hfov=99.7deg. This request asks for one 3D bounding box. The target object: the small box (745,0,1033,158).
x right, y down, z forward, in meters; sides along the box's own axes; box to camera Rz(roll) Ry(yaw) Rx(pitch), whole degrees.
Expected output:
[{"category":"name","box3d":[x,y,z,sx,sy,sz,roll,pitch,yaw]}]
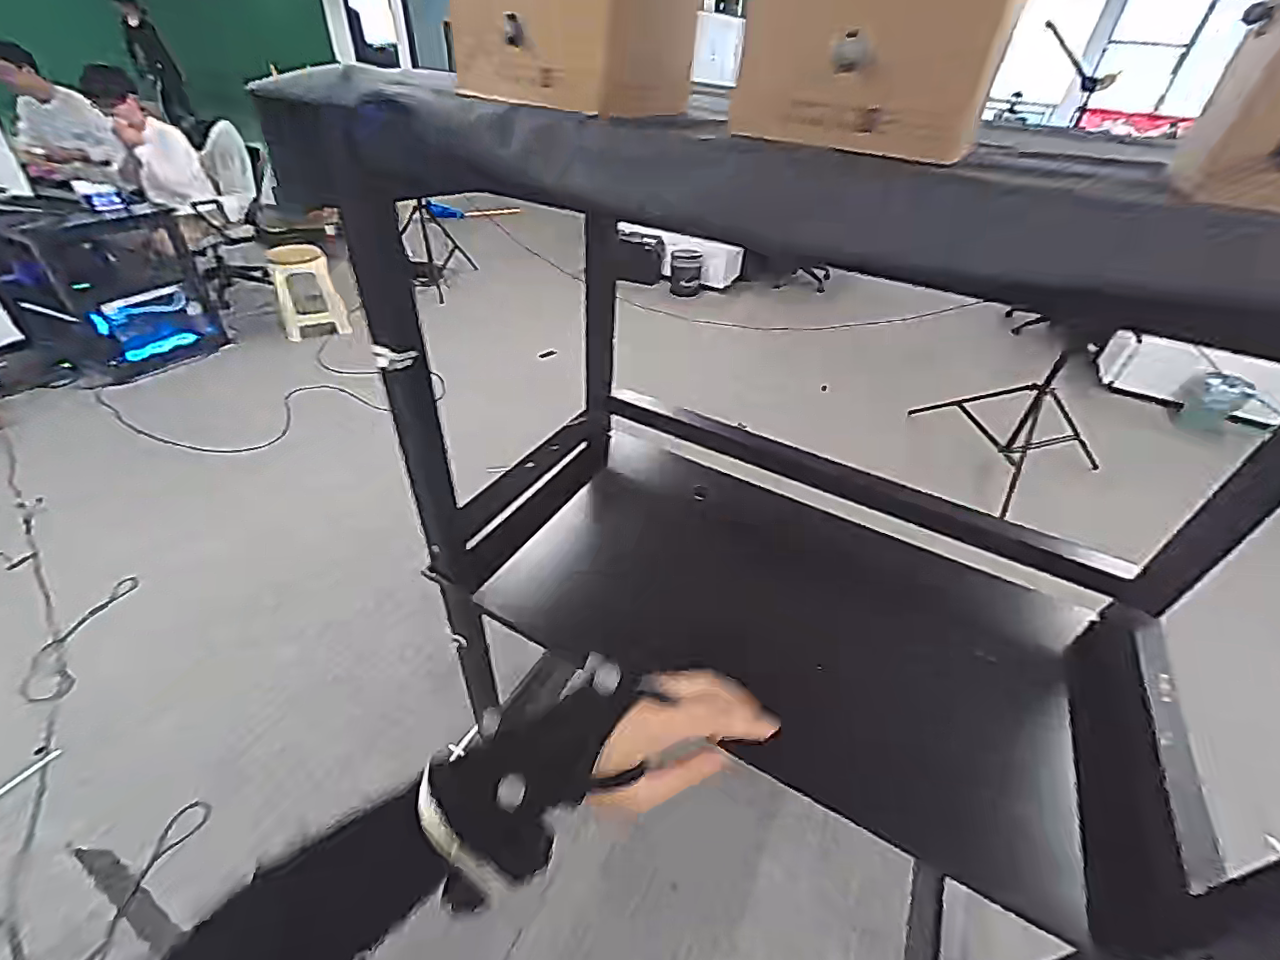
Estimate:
[{"category":"small box","box3d":[0.191,-0.349,0.400,0.168,0.176,0.179,22,40,22]}]

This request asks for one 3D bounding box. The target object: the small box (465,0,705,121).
[{"category":"small box","box3d":[-0.047,-0.442,0.495,0.168,0.176,0.179,22,41,19]}]

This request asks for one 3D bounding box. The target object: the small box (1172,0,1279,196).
[{"category":"small box","box3d":[0.453,-0.246,0.299,0.168,0.176,0.179,25,41,24]}]
